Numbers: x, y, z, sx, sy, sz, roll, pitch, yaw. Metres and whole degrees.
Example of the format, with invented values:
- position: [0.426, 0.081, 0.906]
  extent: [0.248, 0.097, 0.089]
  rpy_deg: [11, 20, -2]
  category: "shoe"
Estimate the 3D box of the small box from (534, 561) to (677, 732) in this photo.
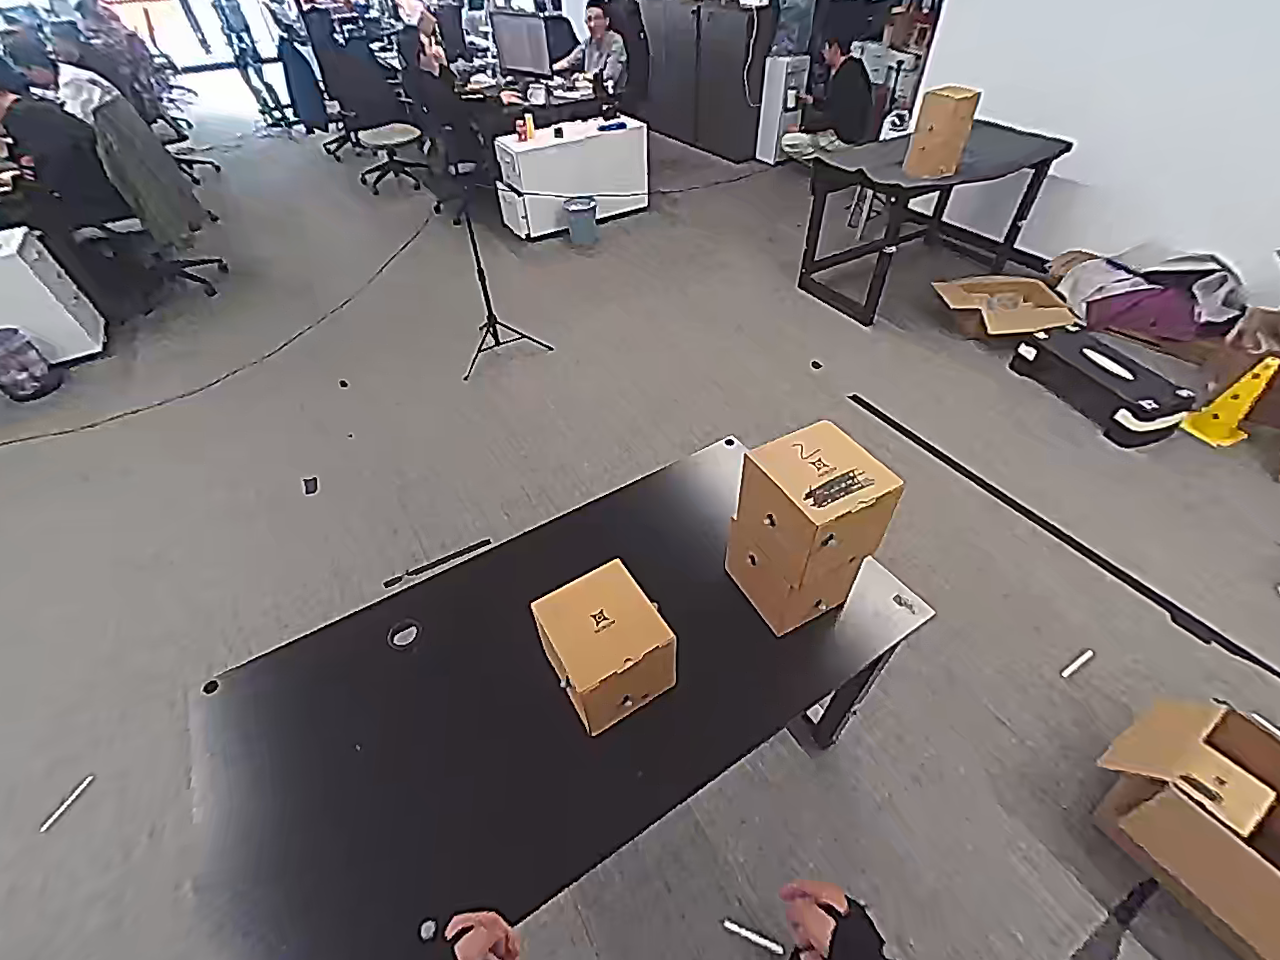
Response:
- position: [-0.055, 0.272, 0.887]
  extent: [0.168, 0.176, 0.179]
  rpy_deg: [-25, 50, -20]
  category: "small box"

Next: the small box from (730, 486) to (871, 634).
- position: [0.279, 0.146, 0.989]
  extent: [0.168, 0.176, 0.179]
  rpy_deg: [-22, 49, -16]
  category: "small box"
